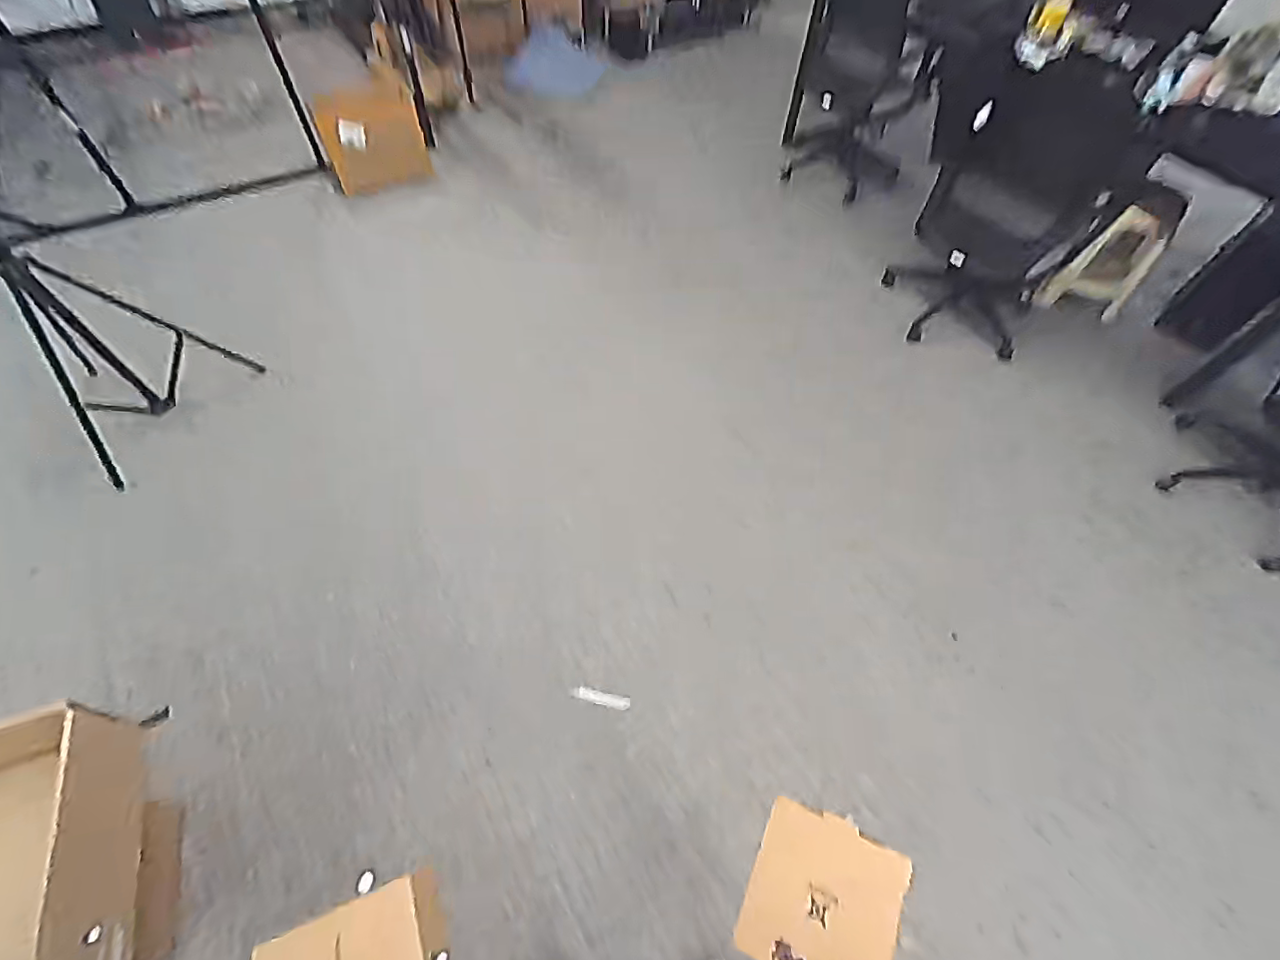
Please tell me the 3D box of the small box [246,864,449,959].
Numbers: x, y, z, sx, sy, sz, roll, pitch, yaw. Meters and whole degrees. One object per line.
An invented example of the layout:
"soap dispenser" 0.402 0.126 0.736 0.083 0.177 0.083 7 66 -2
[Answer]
"small box" -0.326 0.590 0.635 0.168 0.176 0.179 -16 63 -19

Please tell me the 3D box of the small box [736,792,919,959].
"small box" 0.241 0.533 0.682 0.168 0.176 0.179 12 61 32
